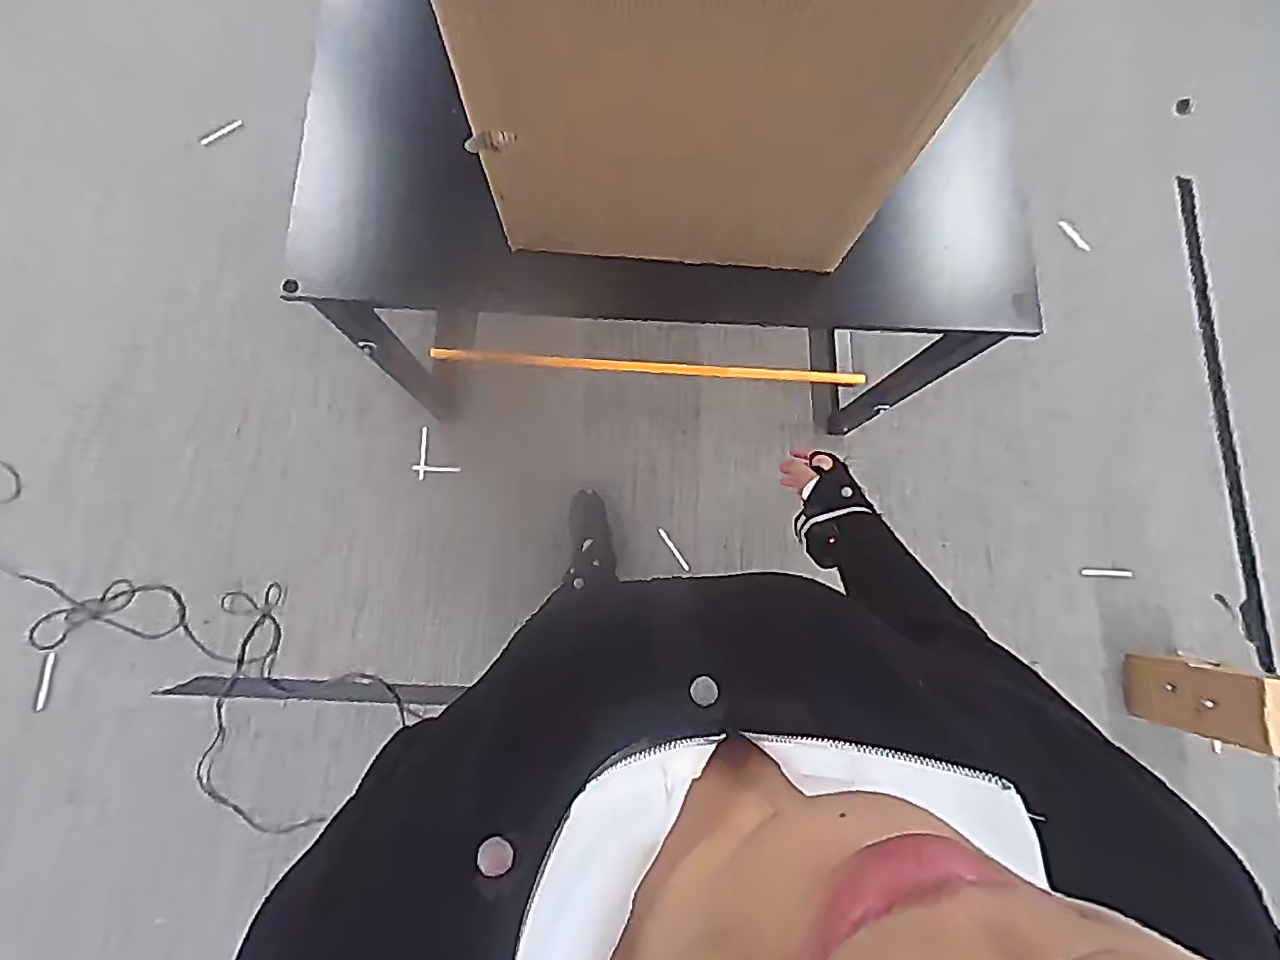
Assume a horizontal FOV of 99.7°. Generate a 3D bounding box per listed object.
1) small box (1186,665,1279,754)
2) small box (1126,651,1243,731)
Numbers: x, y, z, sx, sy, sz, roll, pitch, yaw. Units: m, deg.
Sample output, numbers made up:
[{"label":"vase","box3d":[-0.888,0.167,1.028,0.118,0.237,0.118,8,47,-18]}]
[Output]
[{"label":"small box","box3d":[1.470,0.545,1.287,0.179,0.176,0.168,6,80,-2]},{"label":"small box","box3d":[1.457,0.565,1.450,0.168,0.176,0.179,6,81,-2]}]
